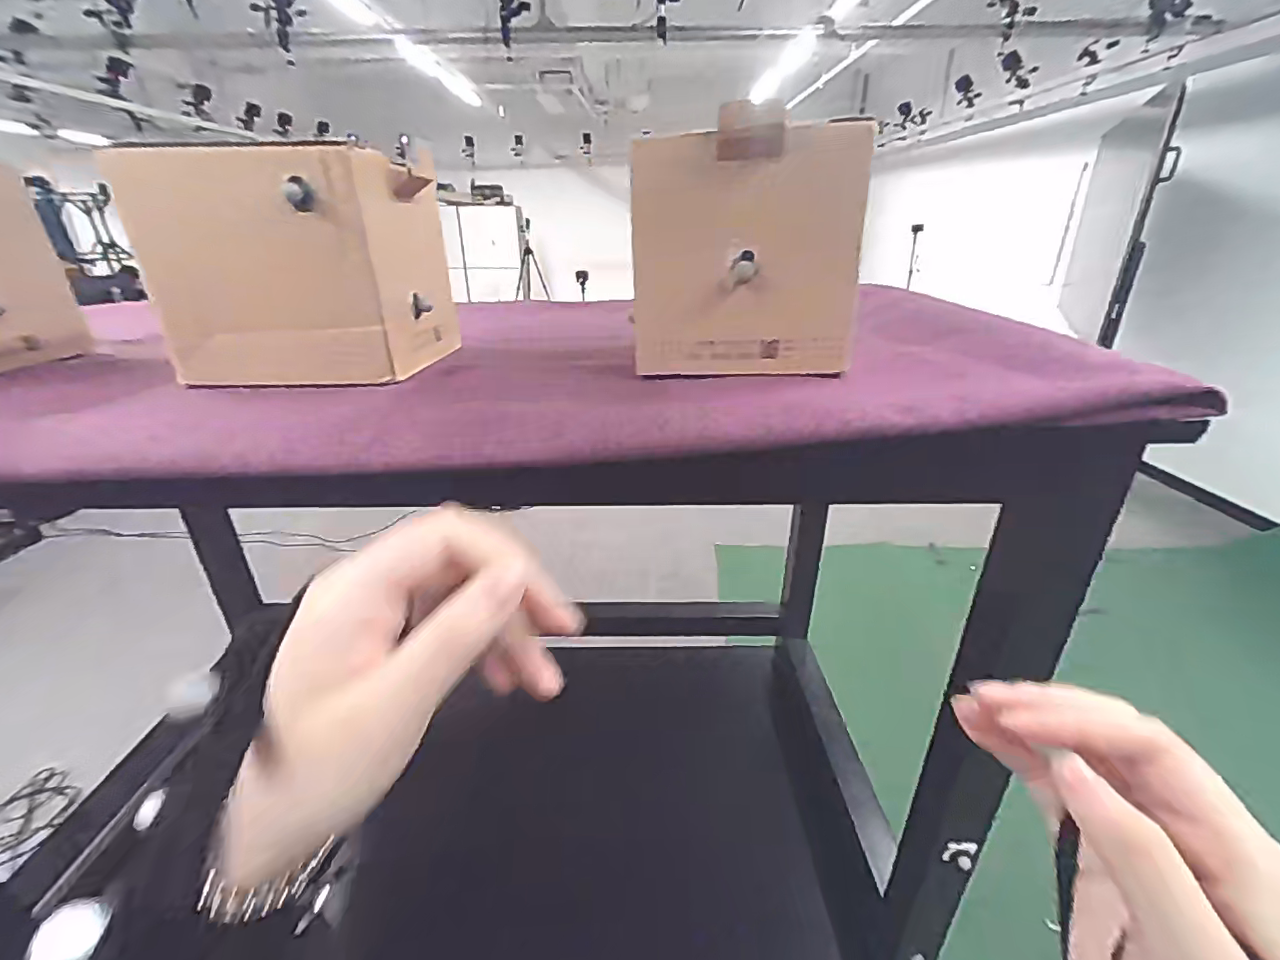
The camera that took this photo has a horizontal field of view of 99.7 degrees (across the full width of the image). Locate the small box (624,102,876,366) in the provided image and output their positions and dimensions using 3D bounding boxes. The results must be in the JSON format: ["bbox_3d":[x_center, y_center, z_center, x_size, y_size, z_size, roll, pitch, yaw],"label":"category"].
[{"bbox_3d":[0.084,-0.194,0.456,0.168,0.176,0.179,1,24,7],"label":"small box"}]

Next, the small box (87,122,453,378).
[{"bbox_3d":[-0.277,-0.184,0.457,0.179,0.176,0.168,0,24,0],"label":"small box"}]

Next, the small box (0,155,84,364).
[{"bbox_3d":[-0.640,-0.175,0.439,0.179,0.176,0.168,0,27,0],"label":"small box"}]
